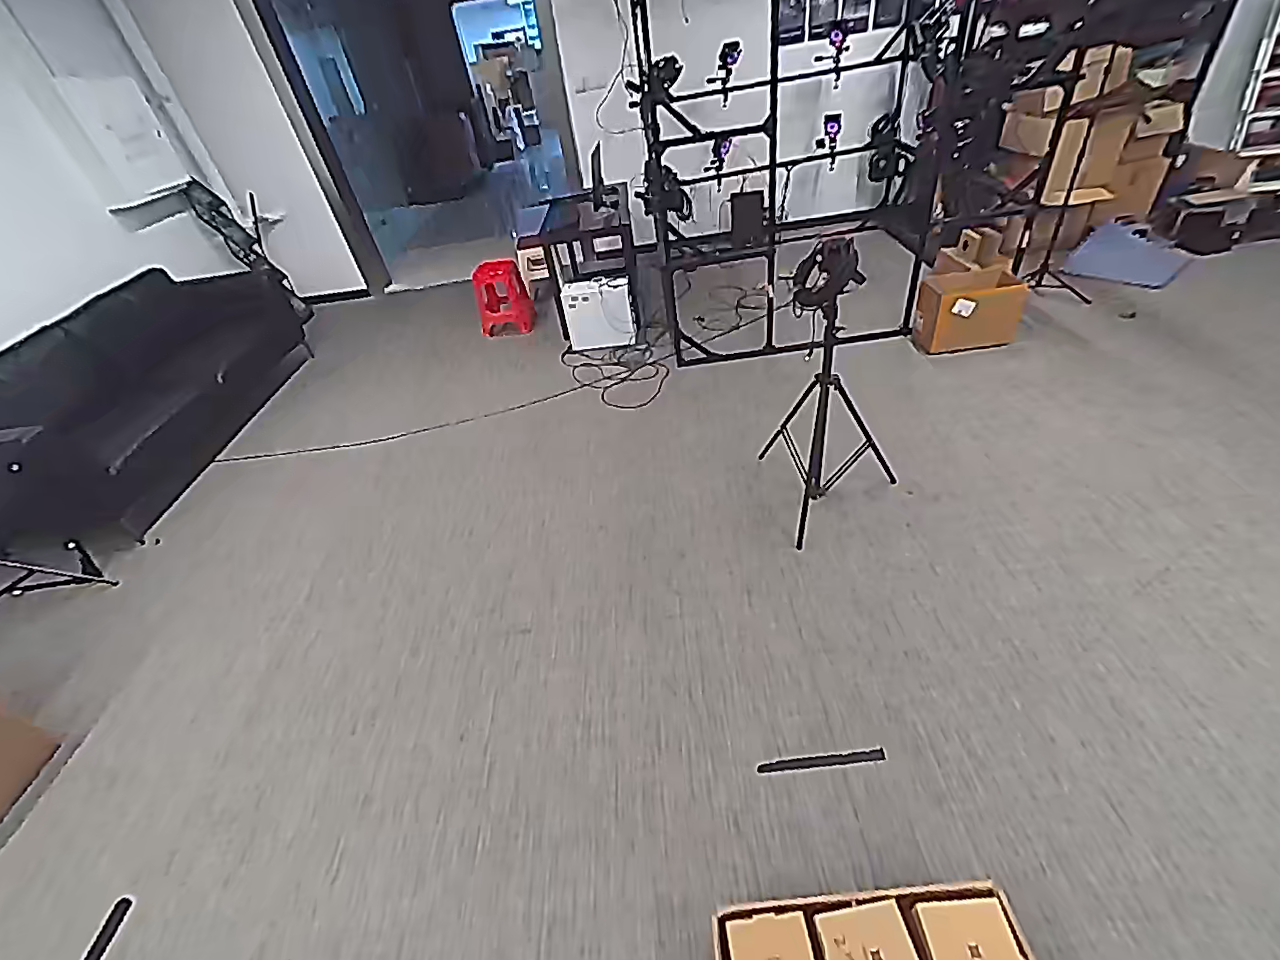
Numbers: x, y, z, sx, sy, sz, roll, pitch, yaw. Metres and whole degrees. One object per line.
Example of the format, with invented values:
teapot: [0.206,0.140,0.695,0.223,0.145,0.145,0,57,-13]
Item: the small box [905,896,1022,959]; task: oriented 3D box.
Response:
small box: [0.662,0.979,1.100,0.168,0.176,0.179,-8,42,5]
